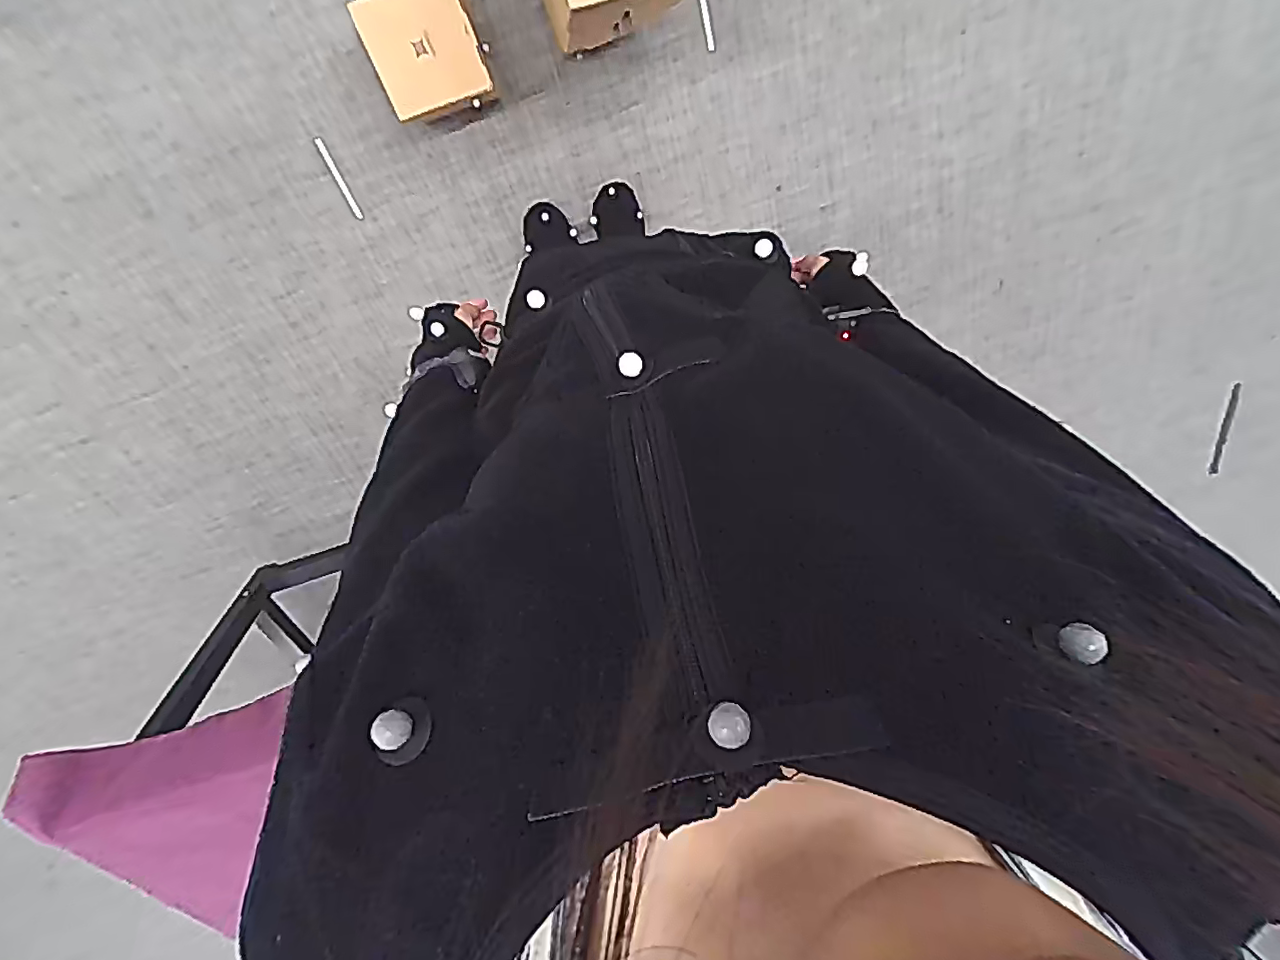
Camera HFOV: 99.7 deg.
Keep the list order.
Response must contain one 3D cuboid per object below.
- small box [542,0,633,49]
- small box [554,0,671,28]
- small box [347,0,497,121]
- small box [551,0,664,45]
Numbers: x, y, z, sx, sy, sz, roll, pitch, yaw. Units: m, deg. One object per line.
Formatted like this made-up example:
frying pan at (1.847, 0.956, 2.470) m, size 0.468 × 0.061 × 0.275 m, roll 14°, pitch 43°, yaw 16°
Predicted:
small box at (-0.092, -0.877, 0.931) m, size 0.168 × 0.176 × 0.179 m, roll -20°, pitch 122°, yaw 2°
small box at (-0.031, -0.691, 0.666) m, size 0.179 × 0.176 × 0.168 m, roll -16°, pitch 123°, yaw -1°
small box at (-0.370, -0.758, 0.957) m, size 0.179 × 0.176 × 0.168 m, roll -19°, pitch 123°, yaw 2°
small box at (-0.057, -0.779, 0.802) m, size 0.179 × 0.176 × 0.168 m, roll -19°, pitch 123°, yaw 1°
